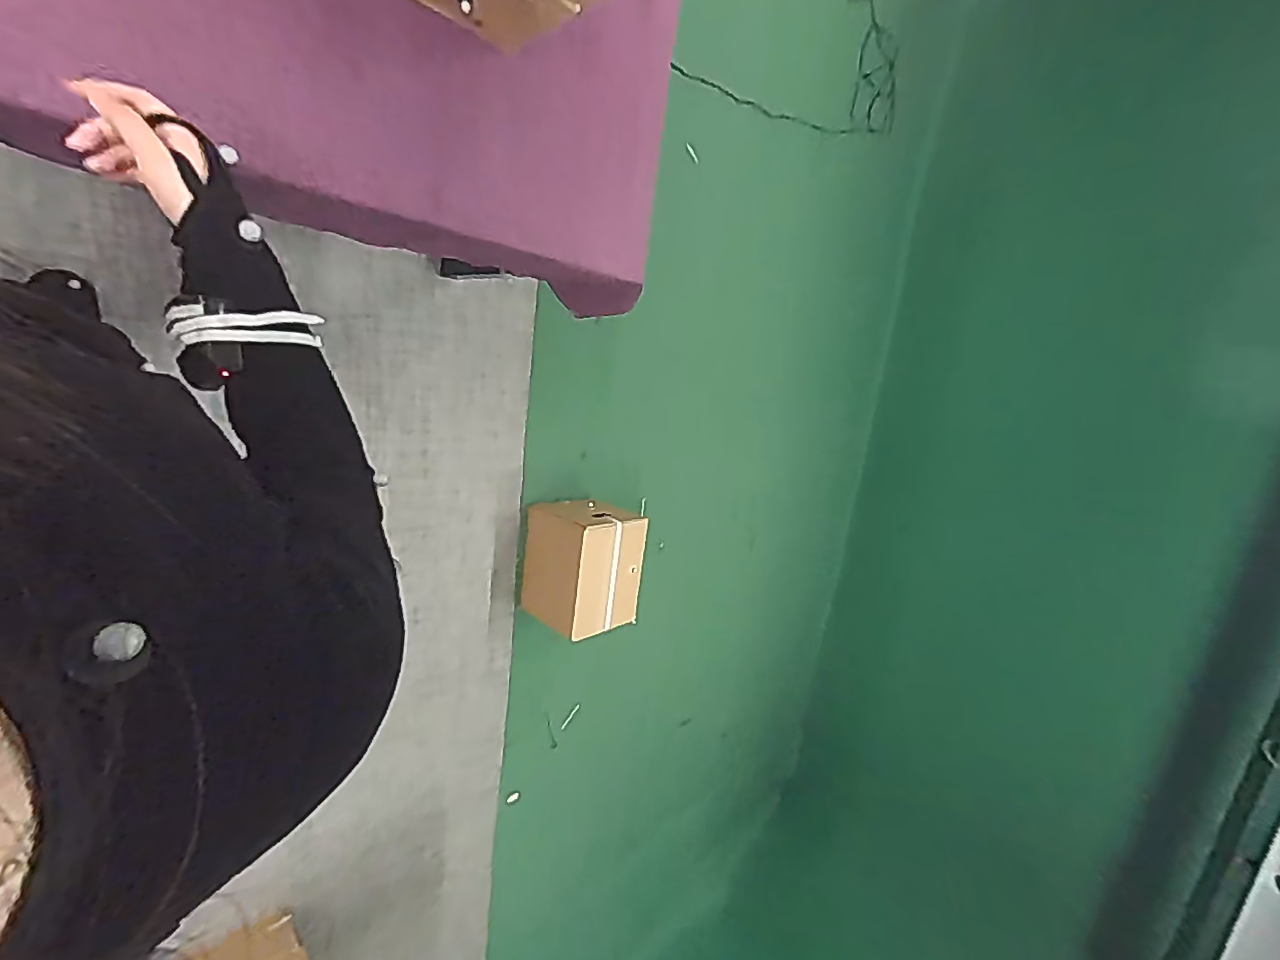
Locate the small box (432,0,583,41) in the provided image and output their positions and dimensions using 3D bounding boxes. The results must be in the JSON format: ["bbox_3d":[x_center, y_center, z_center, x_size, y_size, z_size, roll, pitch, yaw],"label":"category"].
[{"bbox_3d":[-0.177,-0.687,0.653,0.168,0.176,0.179,-7,110,-46],"label":"small box"}]
